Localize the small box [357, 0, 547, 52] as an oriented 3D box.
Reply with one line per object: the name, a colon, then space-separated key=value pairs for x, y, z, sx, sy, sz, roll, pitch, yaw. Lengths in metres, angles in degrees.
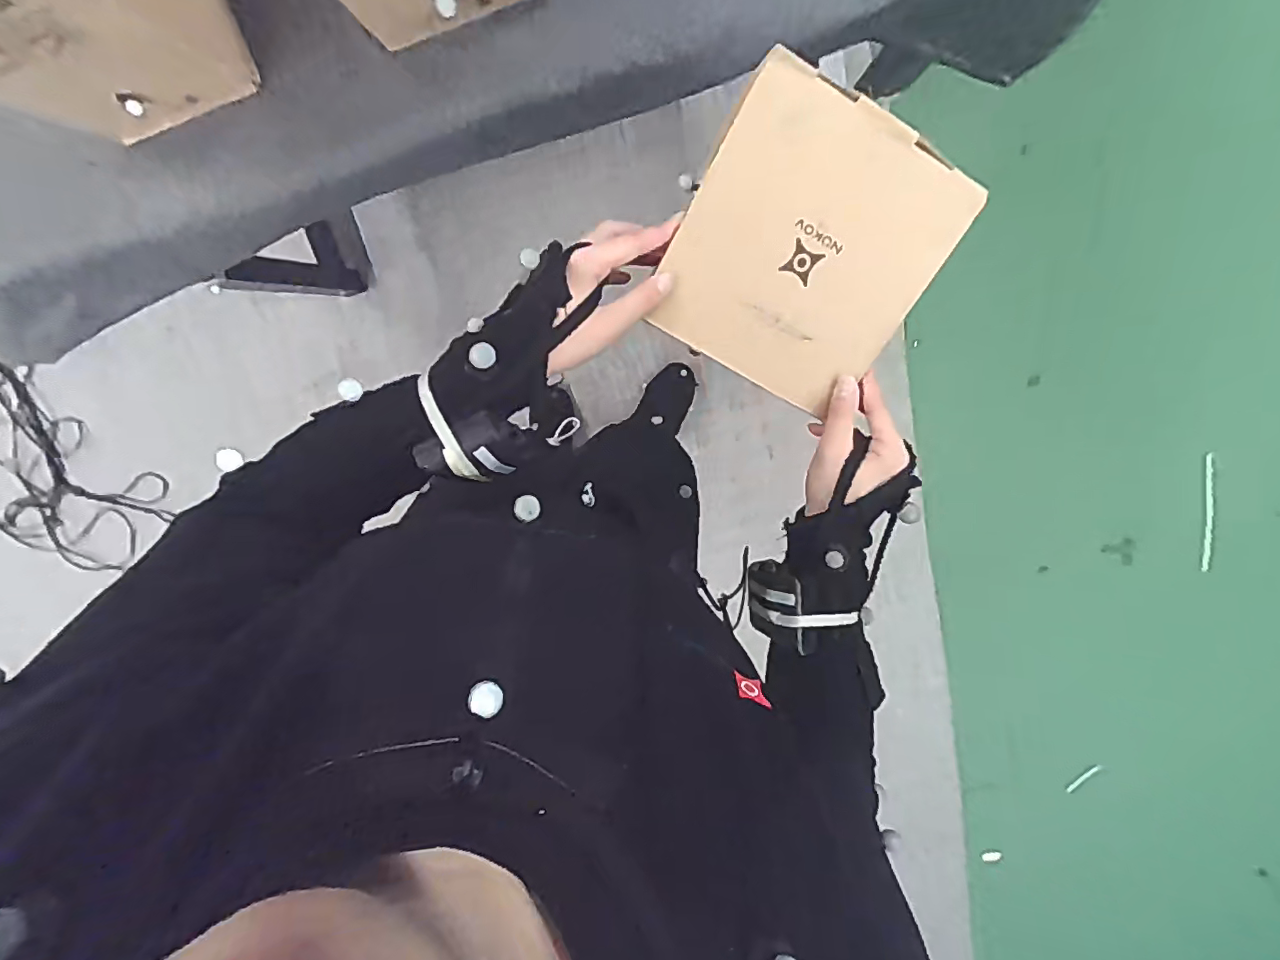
small box: x=-0.179 y=-0.482 z=0.407 sx=0.168 sy=0.176 sz=0.179 roll=-15 pitch=104 yaw=8

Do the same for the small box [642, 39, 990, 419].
small box: x=0.110 y=-0.179 z=0.425 sx=0.168 sy=0.176 sz=0.179 roll=26 pitch=110 yaw=-10
